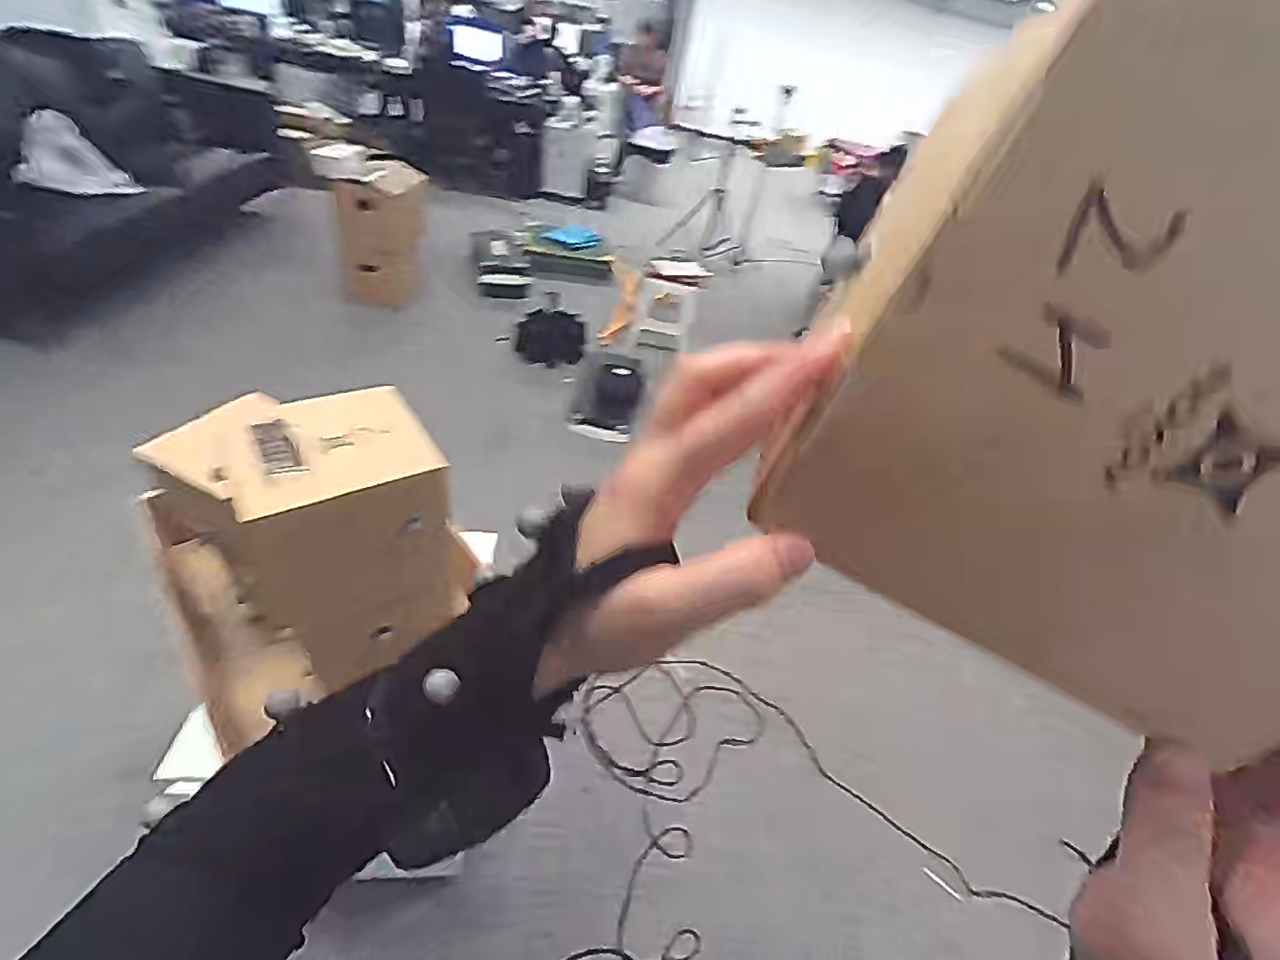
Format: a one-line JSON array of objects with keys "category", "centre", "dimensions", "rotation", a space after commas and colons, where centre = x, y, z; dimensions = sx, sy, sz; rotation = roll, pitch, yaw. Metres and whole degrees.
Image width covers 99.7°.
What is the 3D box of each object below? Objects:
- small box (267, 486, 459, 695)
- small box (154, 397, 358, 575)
[{"category": "small box", "centre": [-0.355, 0.143, 0.717], "dimensions": [0.179, 0.176, 0.168], "rotation": [-24, 51, -34]}, {"category": "small box", "centre": [-0.558, 0.008, 0.819], "dimensions": [0.168, 0.176, 0.179], "rotation": [22, 43, 12]}]
